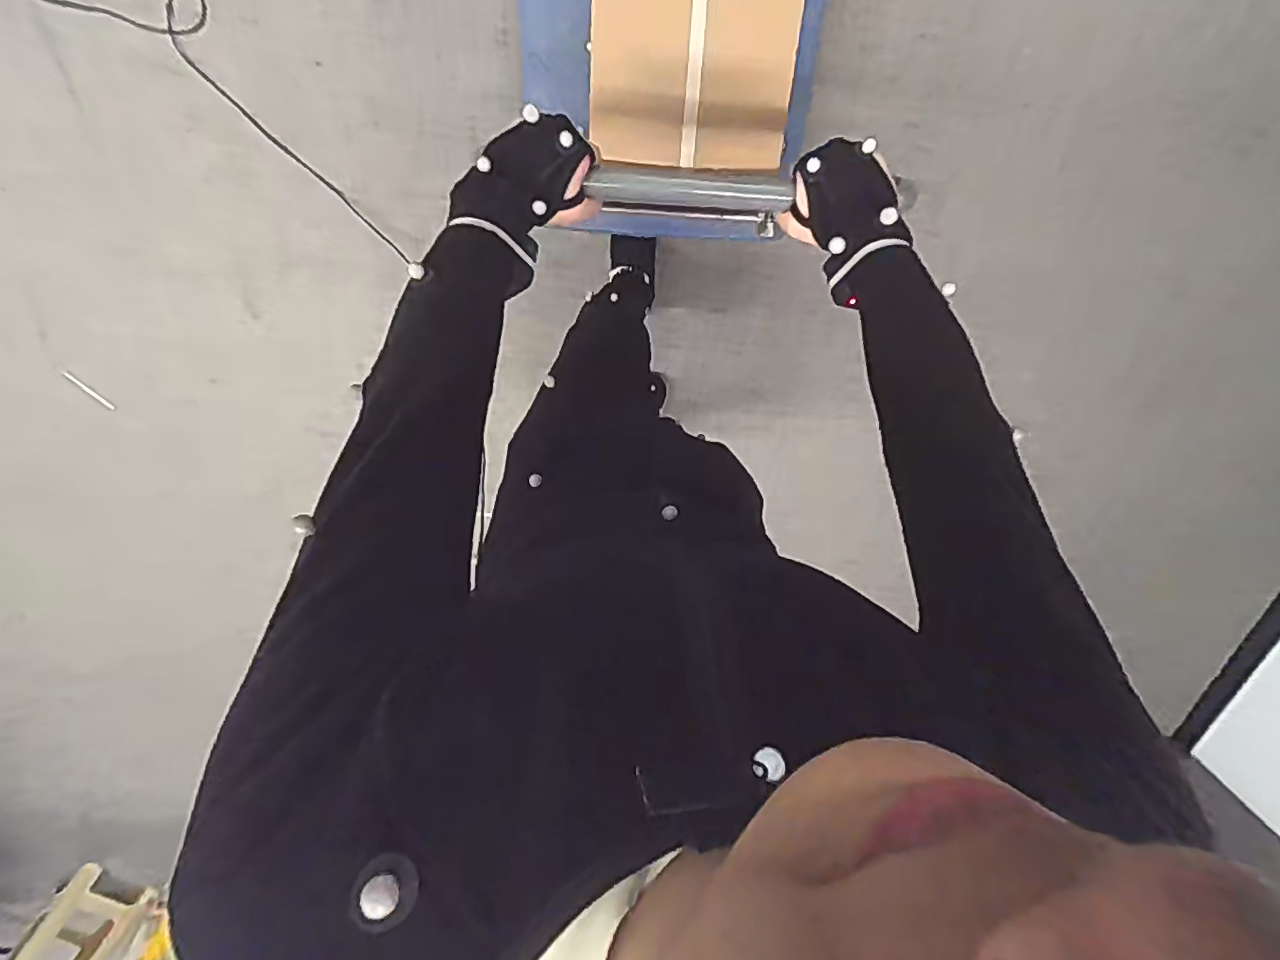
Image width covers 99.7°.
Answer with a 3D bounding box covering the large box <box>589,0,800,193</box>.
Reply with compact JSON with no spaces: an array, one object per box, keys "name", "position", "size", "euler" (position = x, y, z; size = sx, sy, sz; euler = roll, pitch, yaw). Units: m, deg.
[{"name":"large box","position":[0.079,-0.741,0.944],"size":[0.320,0.320,0.408],"euler":[2,115,-3]}]
